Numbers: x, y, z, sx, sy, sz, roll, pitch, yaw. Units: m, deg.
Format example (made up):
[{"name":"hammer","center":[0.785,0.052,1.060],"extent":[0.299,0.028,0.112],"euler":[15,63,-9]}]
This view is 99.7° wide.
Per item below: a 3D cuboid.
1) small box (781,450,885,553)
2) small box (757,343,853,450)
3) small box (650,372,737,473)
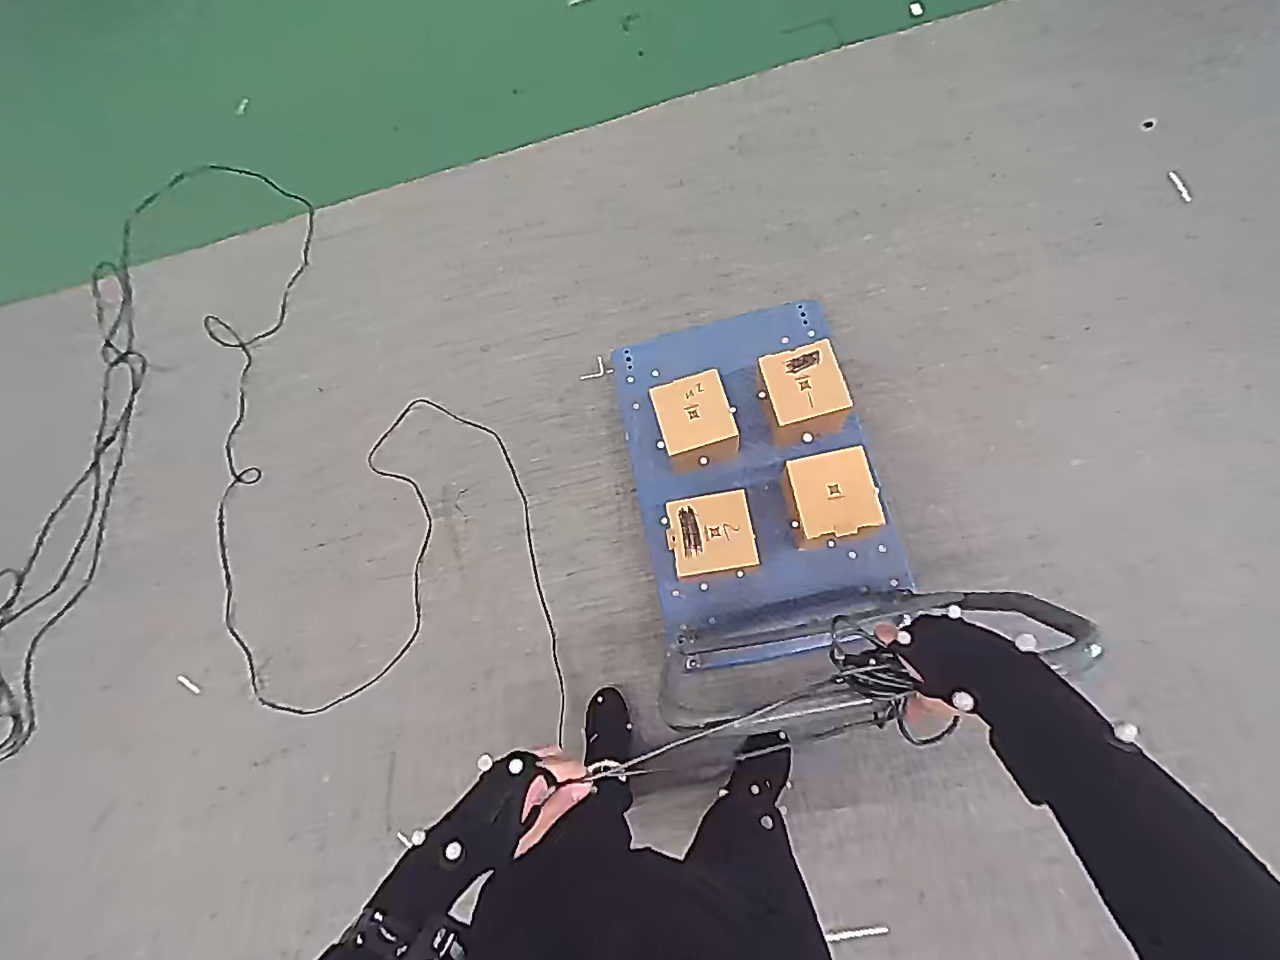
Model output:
[{"name":"small box","center":[0.420,0.054,1.208],"extent":[0.168,0.176,0.179],"euler":[-12,73,6]},{"name":"small box","center":[0.379,-0.190,1.279],"extent":[0.168,0.176,0.179],"euler":[-15,74,6]},{"name":"small box","center":[0.131,-0.128,1.301],"extent":[0.168,0.176,0.179],"euler":[-16,73,4]}]
